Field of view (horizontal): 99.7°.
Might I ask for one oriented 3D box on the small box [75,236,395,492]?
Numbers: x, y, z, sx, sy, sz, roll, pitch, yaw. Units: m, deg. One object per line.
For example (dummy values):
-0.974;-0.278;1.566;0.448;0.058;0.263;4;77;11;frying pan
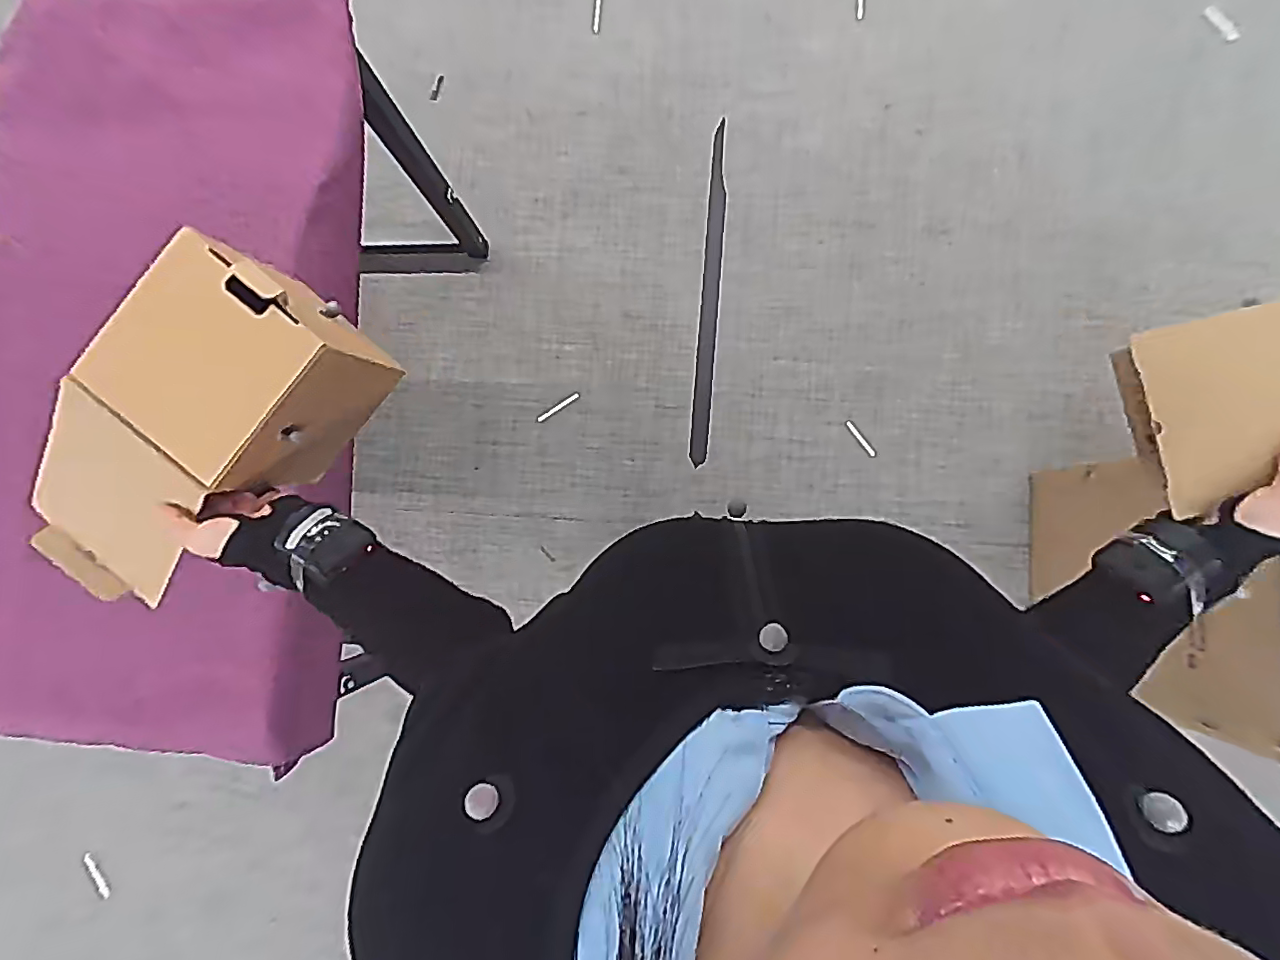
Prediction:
-0.400;-0.106;0.570;0.168;0.176;0.179;39;91;-1;small box
